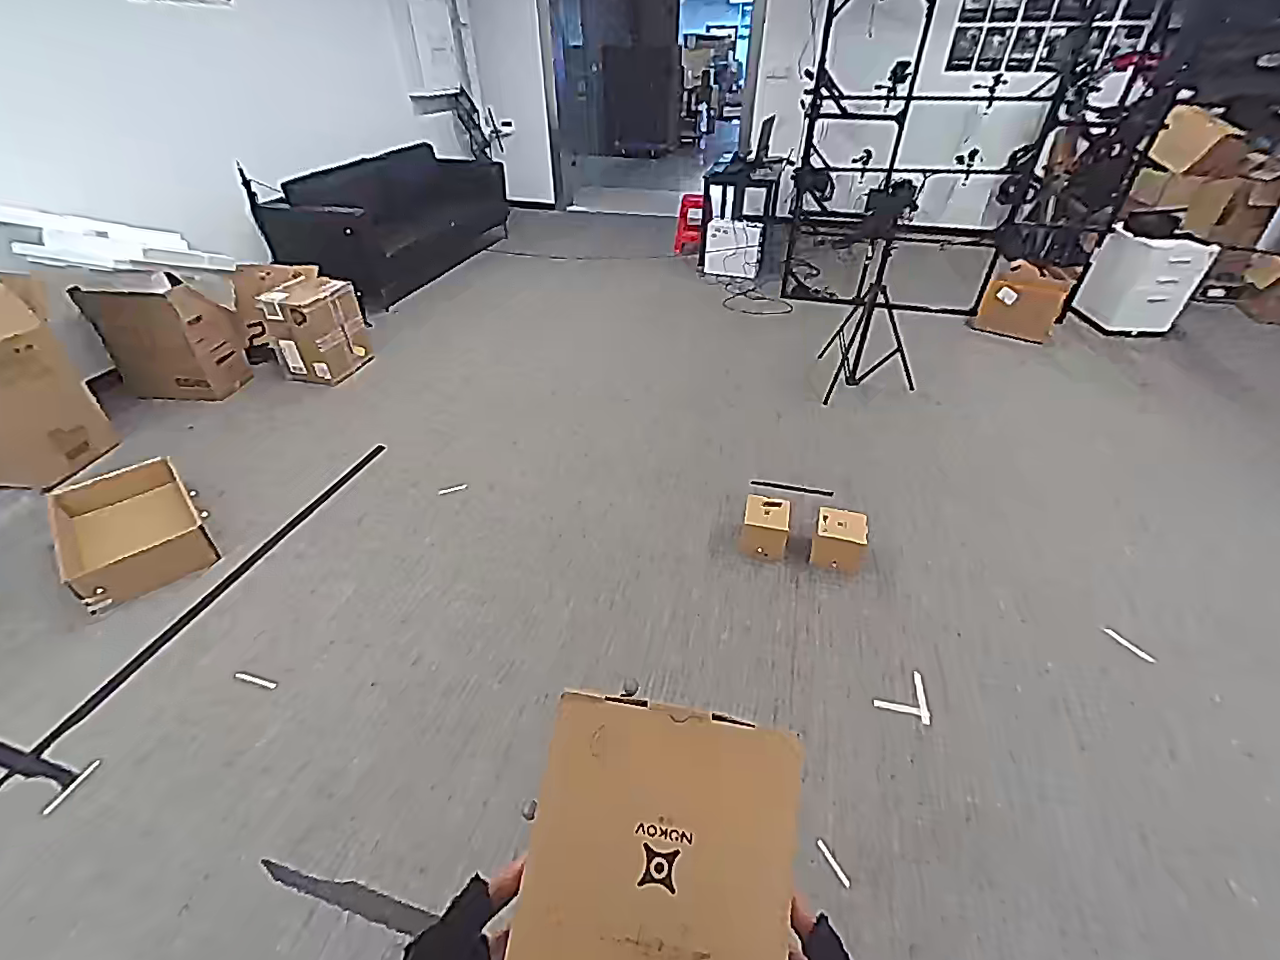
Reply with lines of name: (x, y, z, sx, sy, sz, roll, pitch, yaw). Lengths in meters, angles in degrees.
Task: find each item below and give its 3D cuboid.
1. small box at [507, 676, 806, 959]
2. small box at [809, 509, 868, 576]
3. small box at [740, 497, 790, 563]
small box: (0.014, 0.255, 0.406, 0.168, 0.176, 0.179, 9, 69, 3)
small box: (0.758, 0.242, 2.068, 0.179, 0.176, 0.168, 12, 40, 14)
small box: (0.492, 0.197, 2.126, 0.168, 0.176, 0.179, 8, 40, 12)
